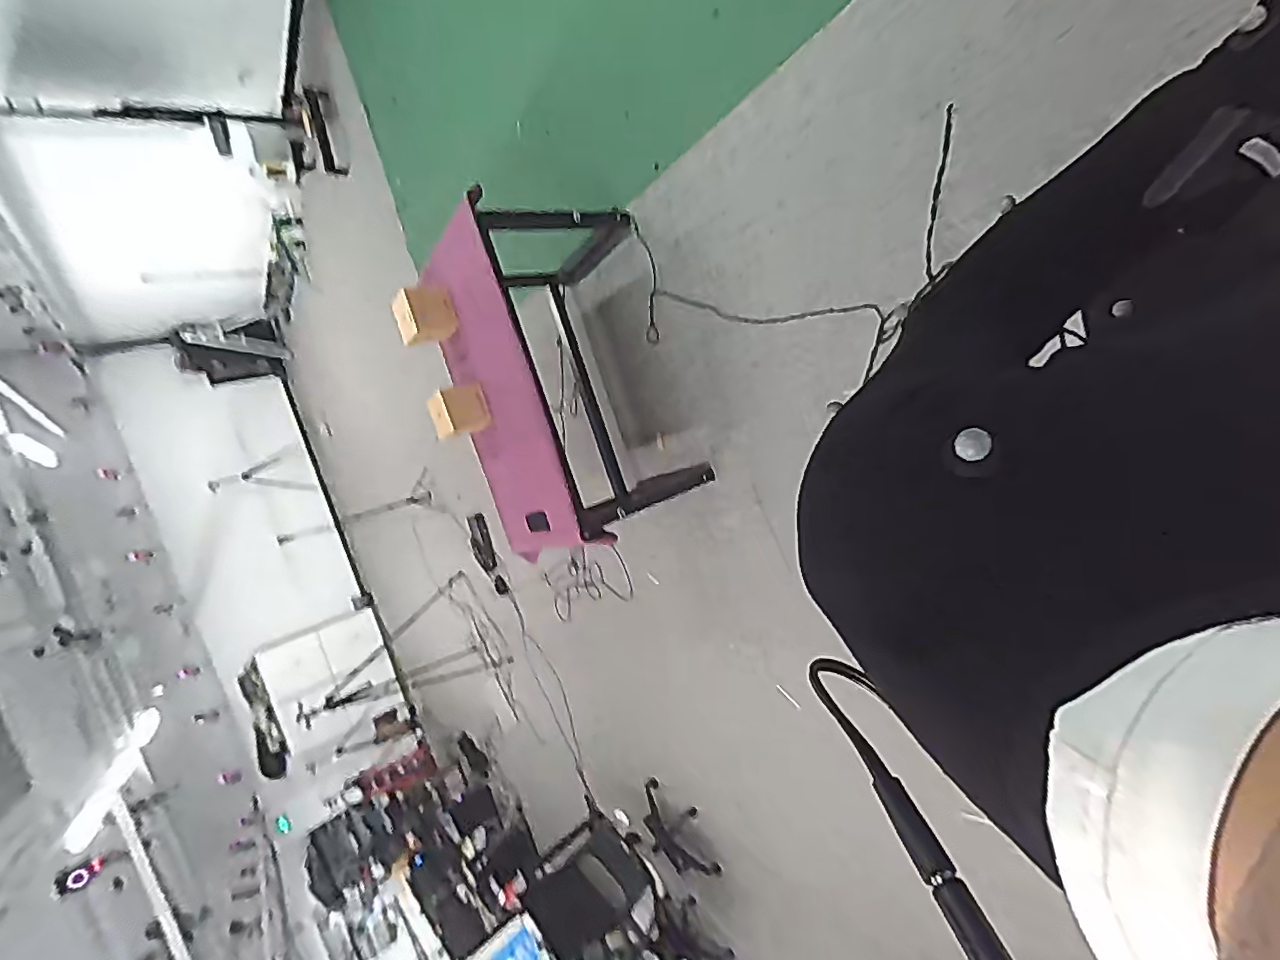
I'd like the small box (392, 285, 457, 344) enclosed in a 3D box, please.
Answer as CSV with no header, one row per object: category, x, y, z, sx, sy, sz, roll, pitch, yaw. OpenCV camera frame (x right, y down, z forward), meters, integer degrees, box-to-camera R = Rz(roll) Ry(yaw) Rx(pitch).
small box,-0.834,-0.641,2.095,0.179,0.176,0.168,-12,98,53

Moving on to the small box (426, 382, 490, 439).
small box,-0.712,-0.272,2.120,0.179,0.176,0.168,-15,95,52
